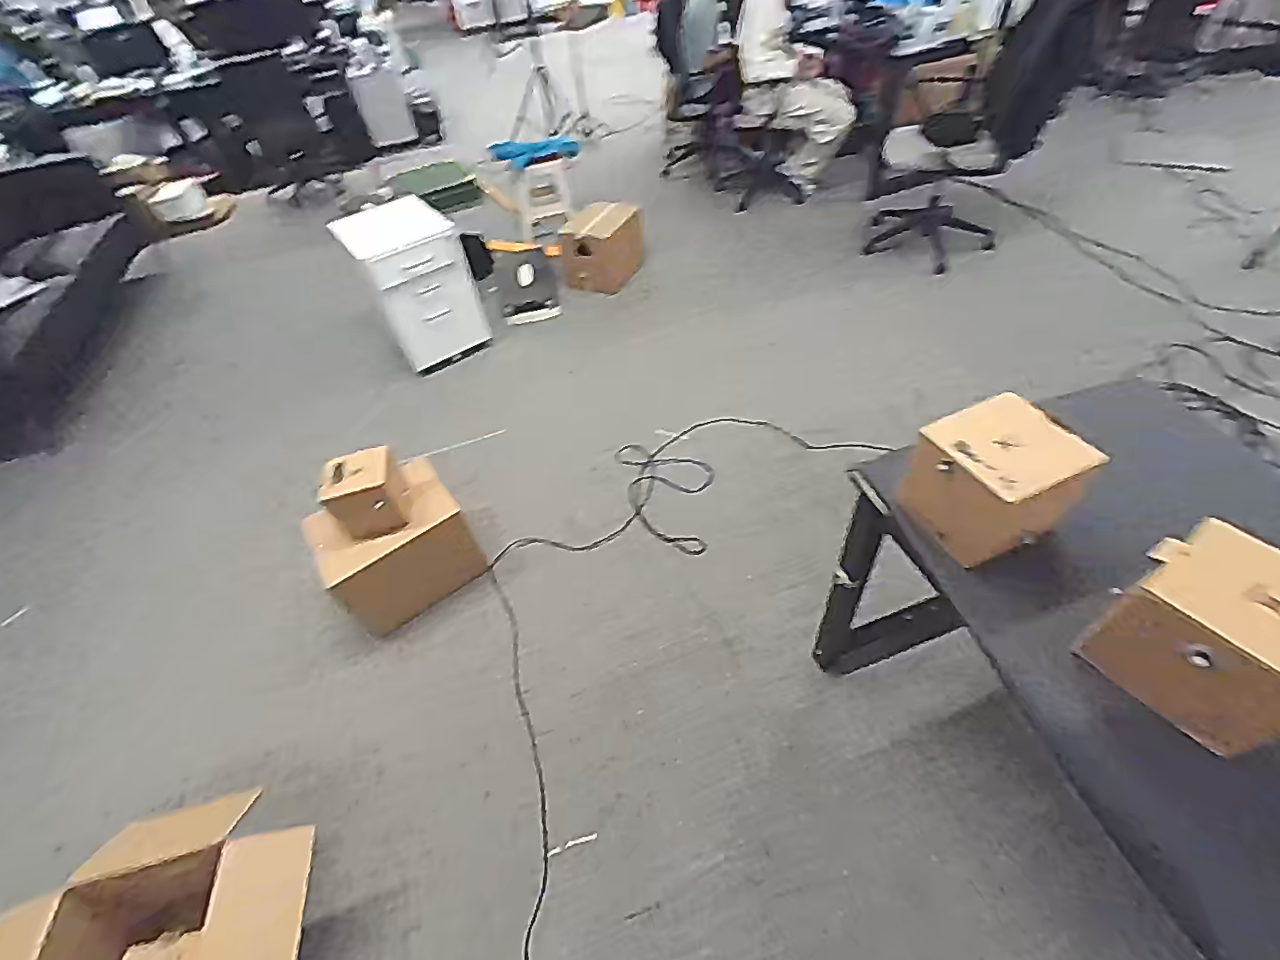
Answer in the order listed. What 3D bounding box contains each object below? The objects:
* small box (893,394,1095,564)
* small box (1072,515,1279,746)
[{"bbox_3d":[0.535,0.000,0.847,0.179,0.176,0.168,-21,49,-11],"label":"small box"},{"bbox_3d":[0.688,0.183,0.659,0.168,0.176,0.179,-31,51,-18],"label":"small box"}]
